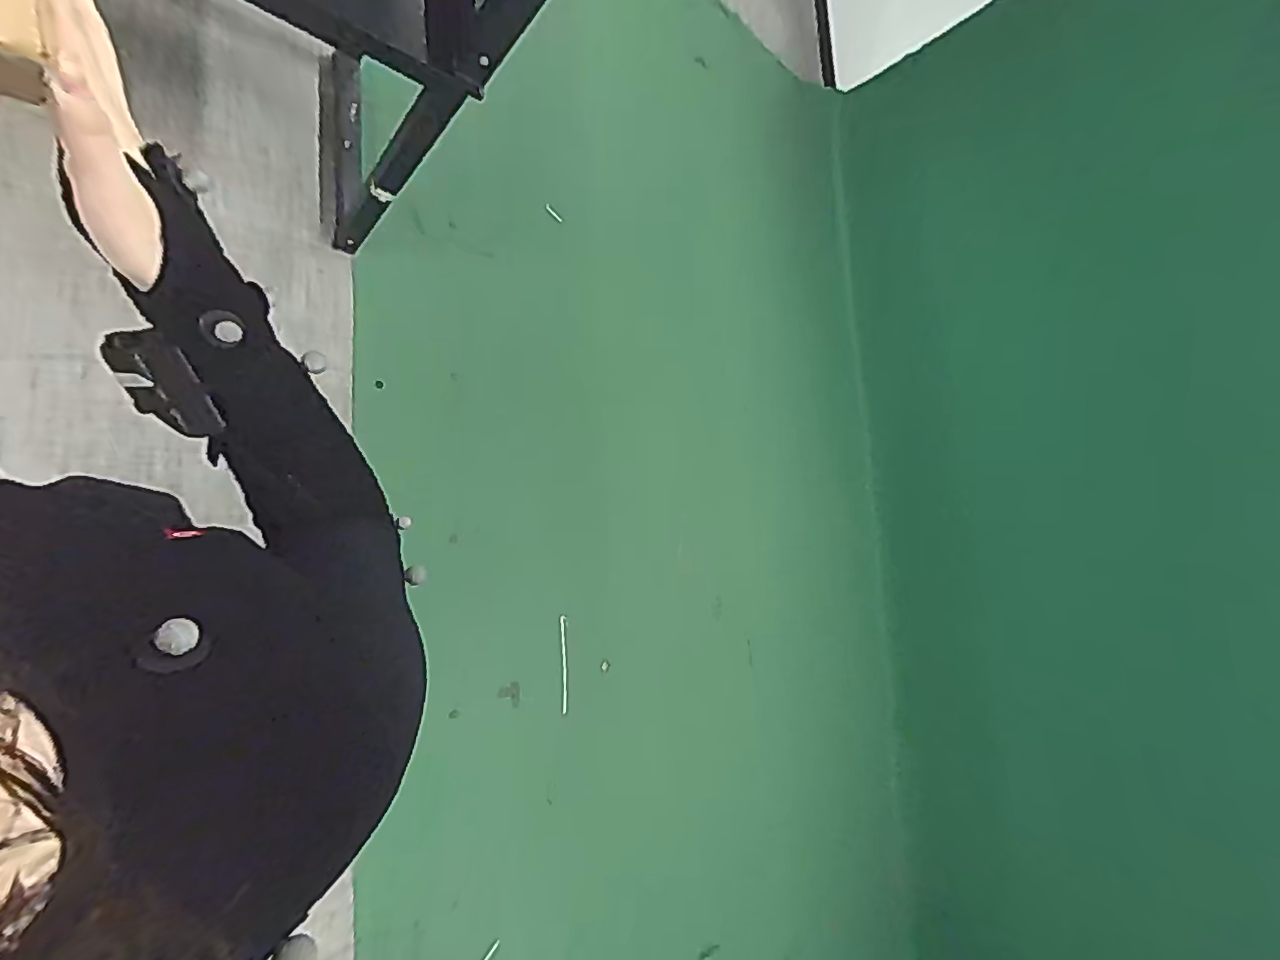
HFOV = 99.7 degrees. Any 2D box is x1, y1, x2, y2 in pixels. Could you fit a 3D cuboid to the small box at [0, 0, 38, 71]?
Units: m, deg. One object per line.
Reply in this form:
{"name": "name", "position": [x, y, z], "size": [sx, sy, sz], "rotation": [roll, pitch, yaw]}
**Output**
{"name": "small box", "position": [-0.297, -0.234, 0.138], "size": [0.179, 0.176, 0.168], "rotation": [-11, 119, -46]}
